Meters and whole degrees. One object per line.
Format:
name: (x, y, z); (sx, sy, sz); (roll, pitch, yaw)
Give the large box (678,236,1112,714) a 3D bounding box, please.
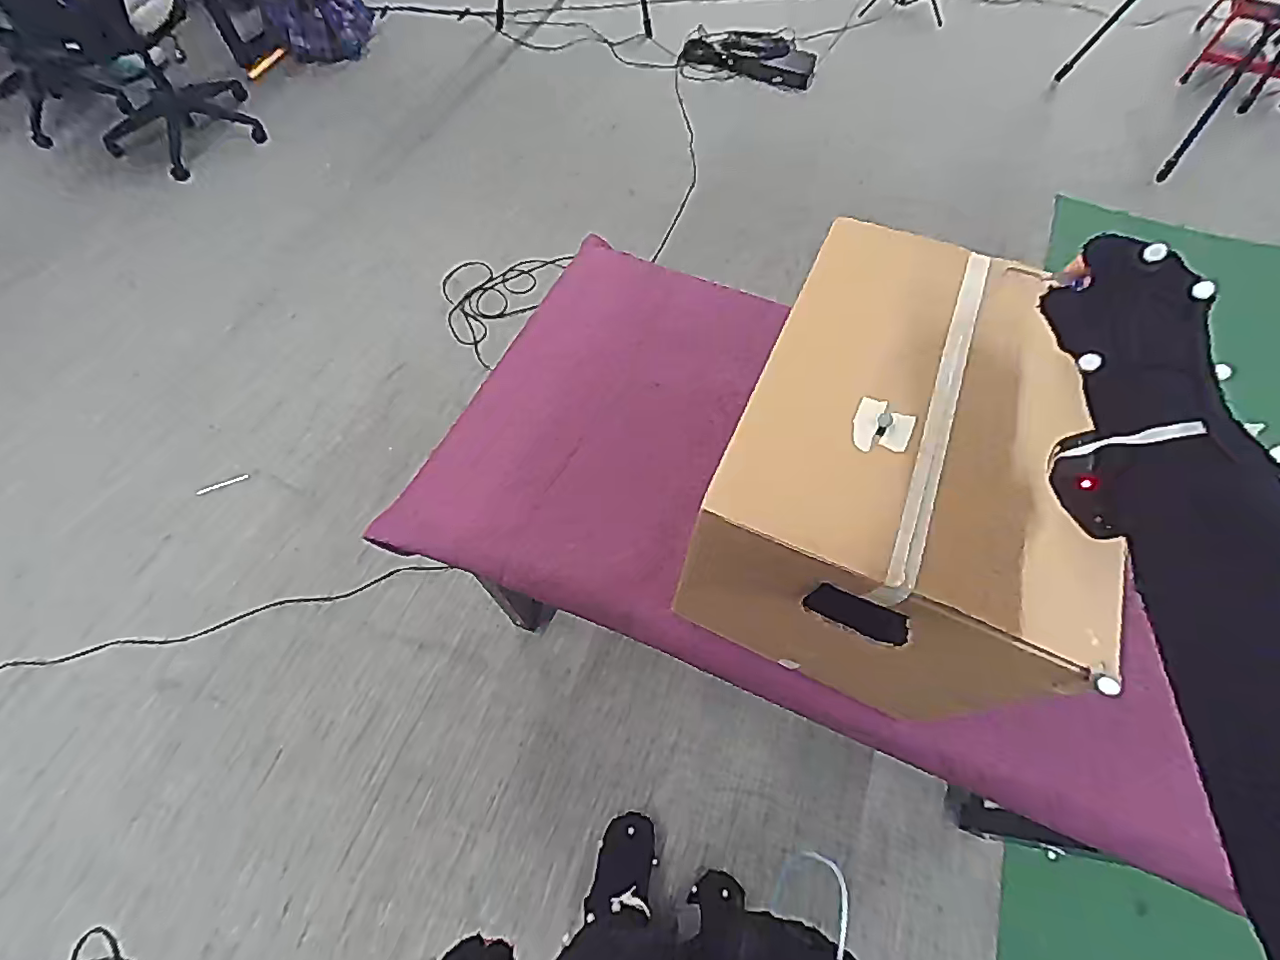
large box: (0.270, 0.004, 0.638); (0.320, 0.320, 0.408); (23, 64, 12)
